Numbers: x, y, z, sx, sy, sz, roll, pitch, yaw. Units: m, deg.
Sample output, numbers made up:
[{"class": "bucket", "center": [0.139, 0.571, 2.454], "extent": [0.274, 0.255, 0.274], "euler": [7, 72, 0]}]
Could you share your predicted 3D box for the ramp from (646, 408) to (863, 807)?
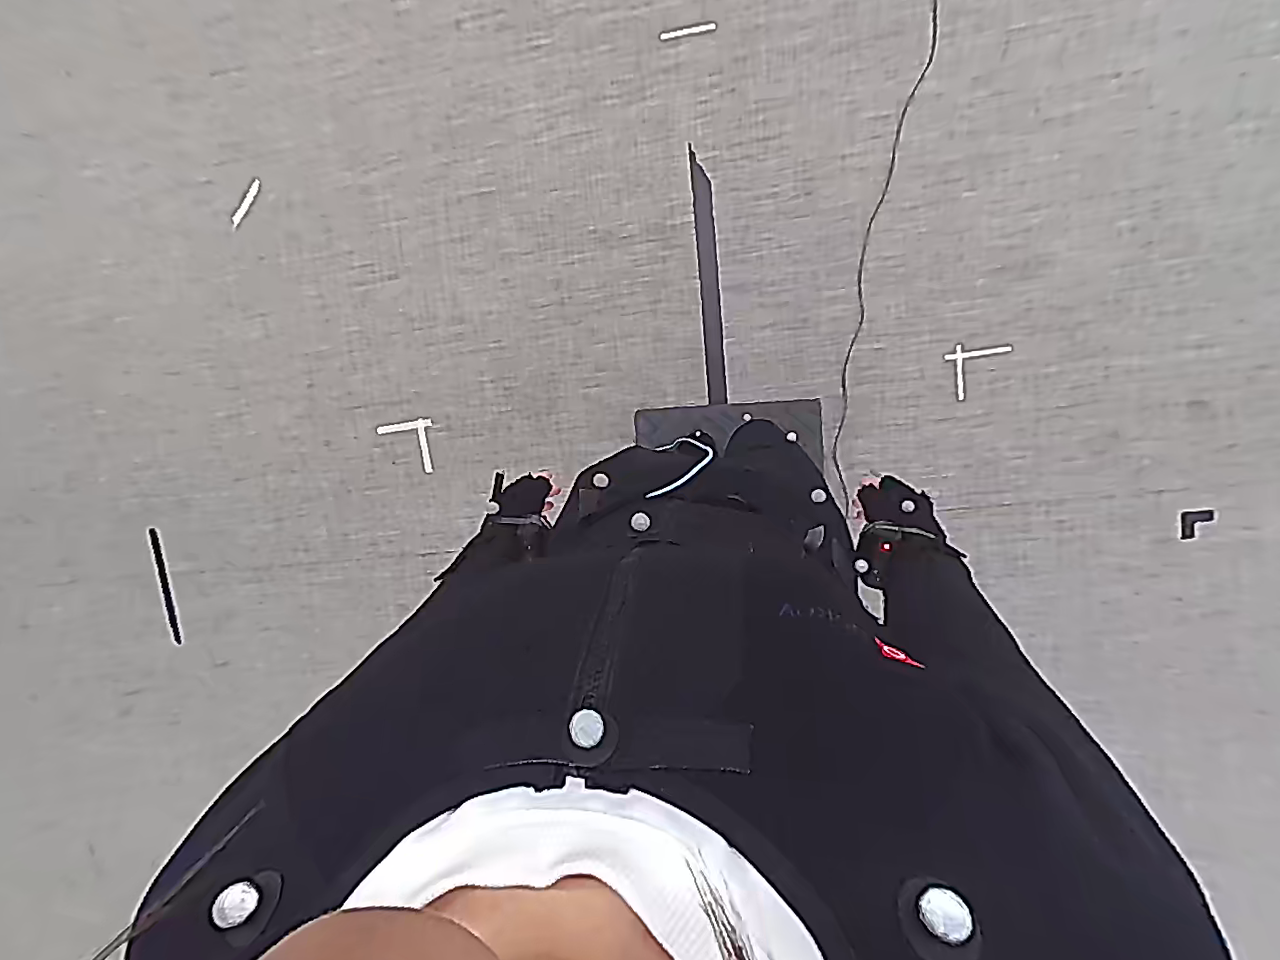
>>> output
[{"class": "ramp", "center": [0.278, 0.322, 1.411], "extent": [0.509, 0.206, 0.991], "euler": [-6, 94, 11]}]
